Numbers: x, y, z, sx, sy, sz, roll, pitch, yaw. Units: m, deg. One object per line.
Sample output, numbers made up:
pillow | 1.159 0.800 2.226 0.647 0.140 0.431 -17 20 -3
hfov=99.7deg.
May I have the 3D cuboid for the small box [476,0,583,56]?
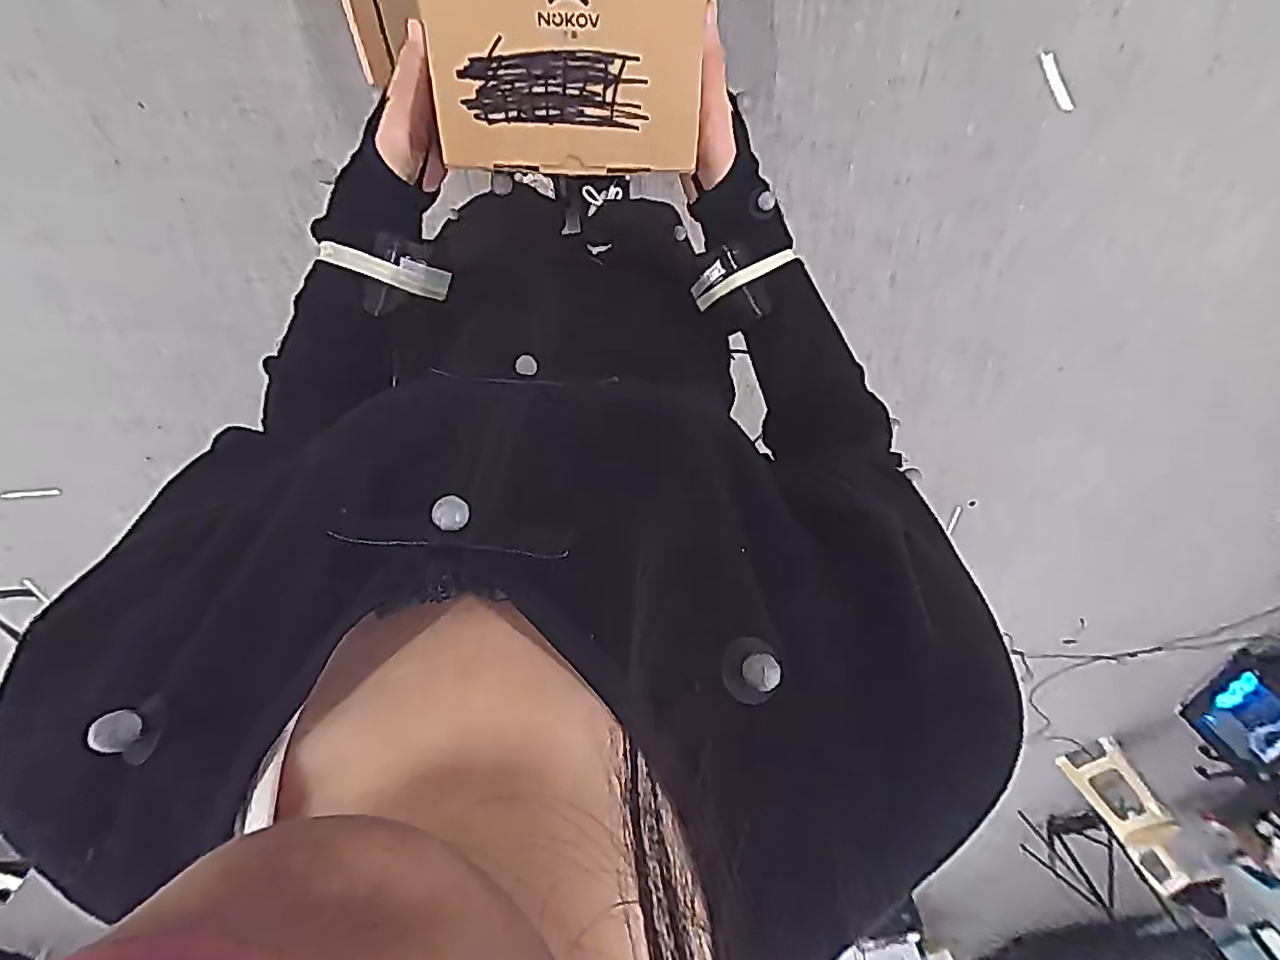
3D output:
small box | -0.200 -0.858 0.932 0.168 0.176 0.179 -11 127 2
